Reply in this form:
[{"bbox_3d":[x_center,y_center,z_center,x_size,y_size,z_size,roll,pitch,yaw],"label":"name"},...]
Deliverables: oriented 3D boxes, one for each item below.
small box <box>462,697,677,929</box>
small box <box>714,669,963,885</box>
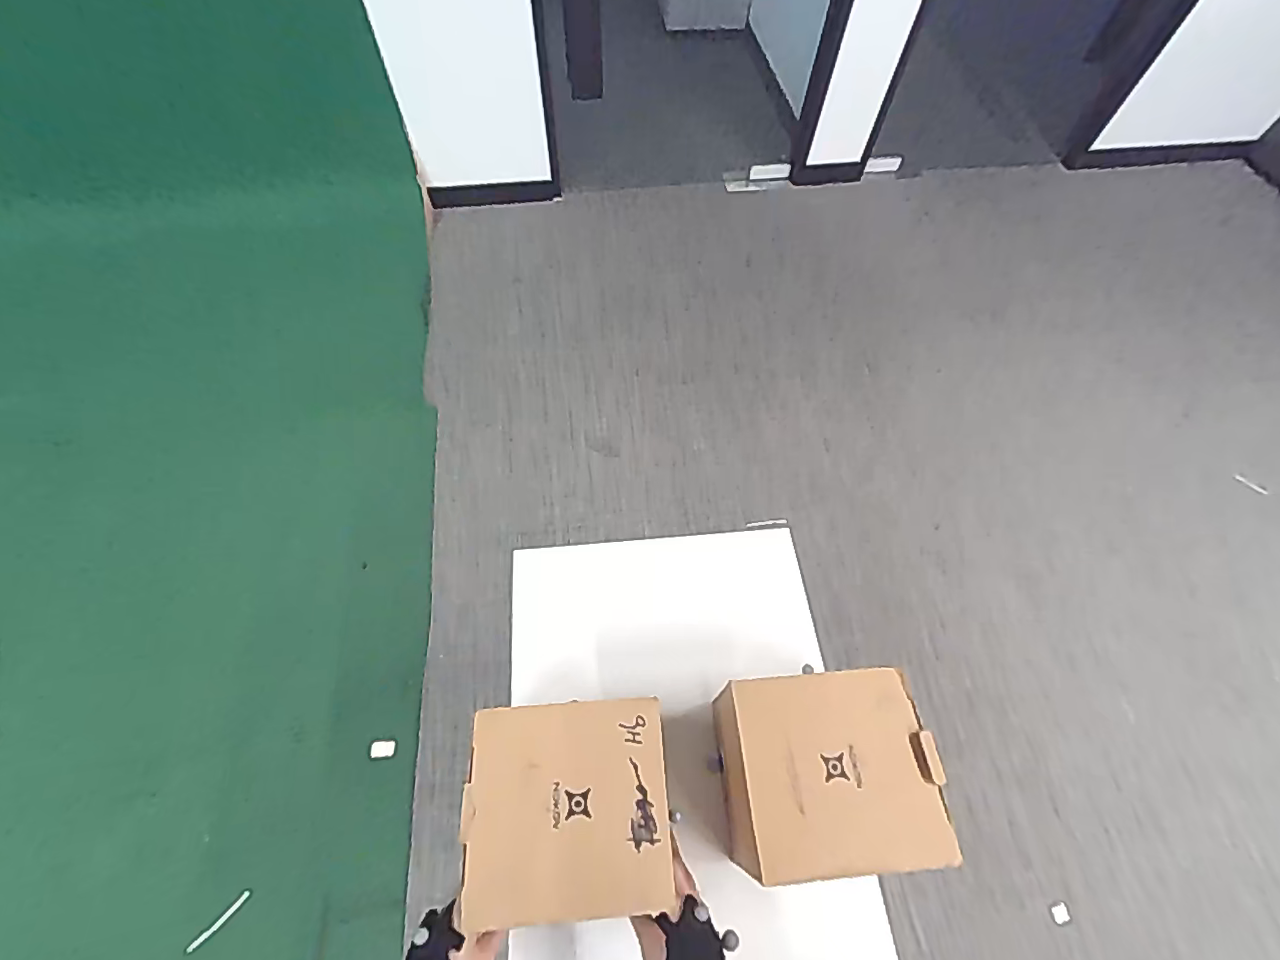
[{"bbox_3d":[-0.063,0.319,0.538,0.179,0.176,0.168,-3,62,-4],"label":"small box"},{"bbox_3d":[0.182,0.299,0.560,0.179,0.176,0.168,-4,61,-2],"label":"small box"}]
